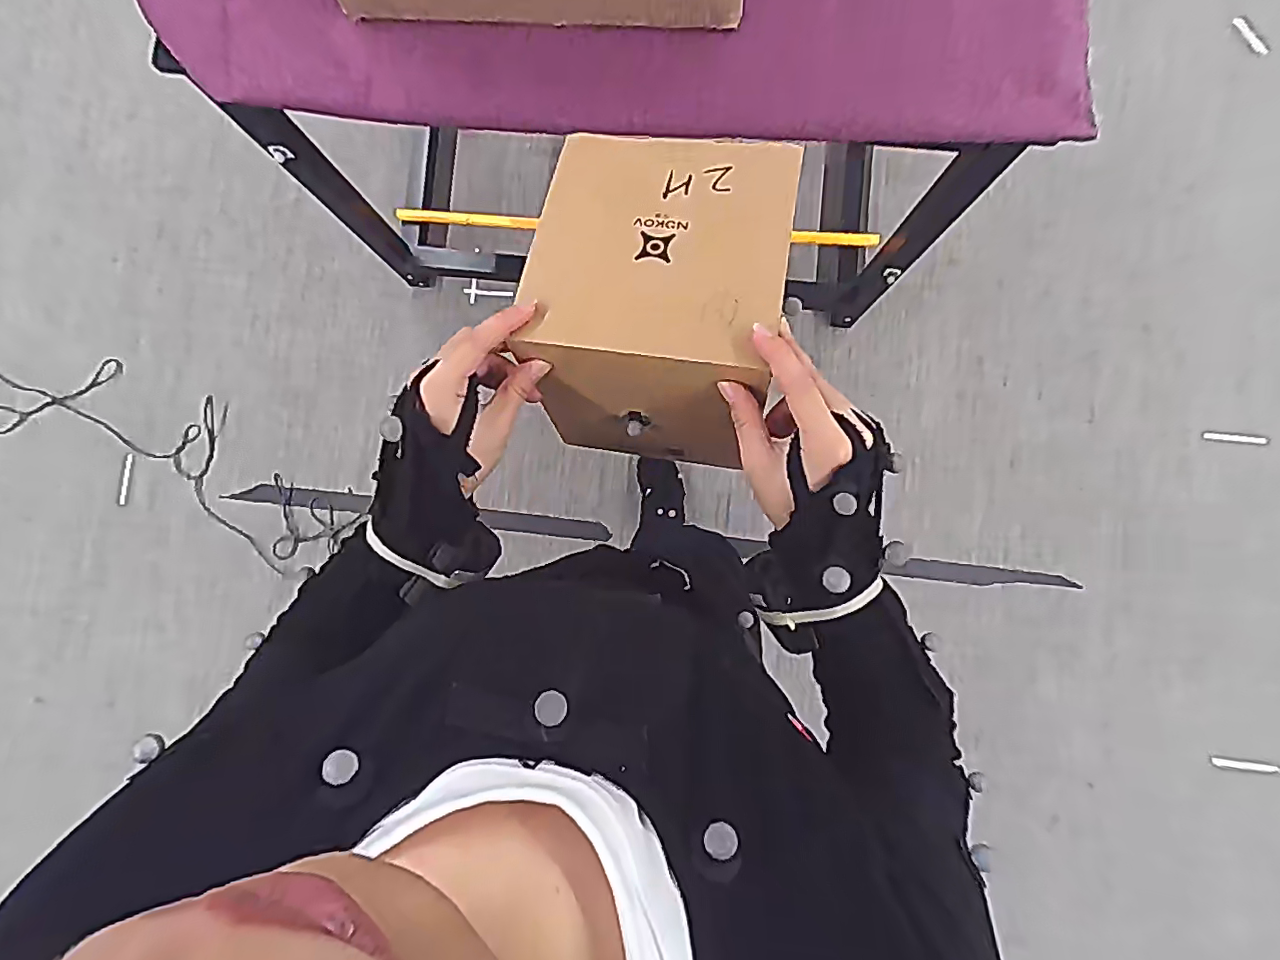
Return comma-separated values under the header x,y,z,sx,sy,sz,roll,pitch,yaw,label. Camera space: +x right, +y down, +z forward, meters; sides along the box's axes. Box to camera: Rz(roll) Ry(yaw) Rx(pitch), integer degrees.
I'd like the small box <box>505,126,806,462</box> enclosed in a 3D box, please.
x,y,z,sx,sy,sz,roll,pitch,yaw,label
0.021,-0.128,0.414,0.168,0.176,0.179,9,71,9,small box
